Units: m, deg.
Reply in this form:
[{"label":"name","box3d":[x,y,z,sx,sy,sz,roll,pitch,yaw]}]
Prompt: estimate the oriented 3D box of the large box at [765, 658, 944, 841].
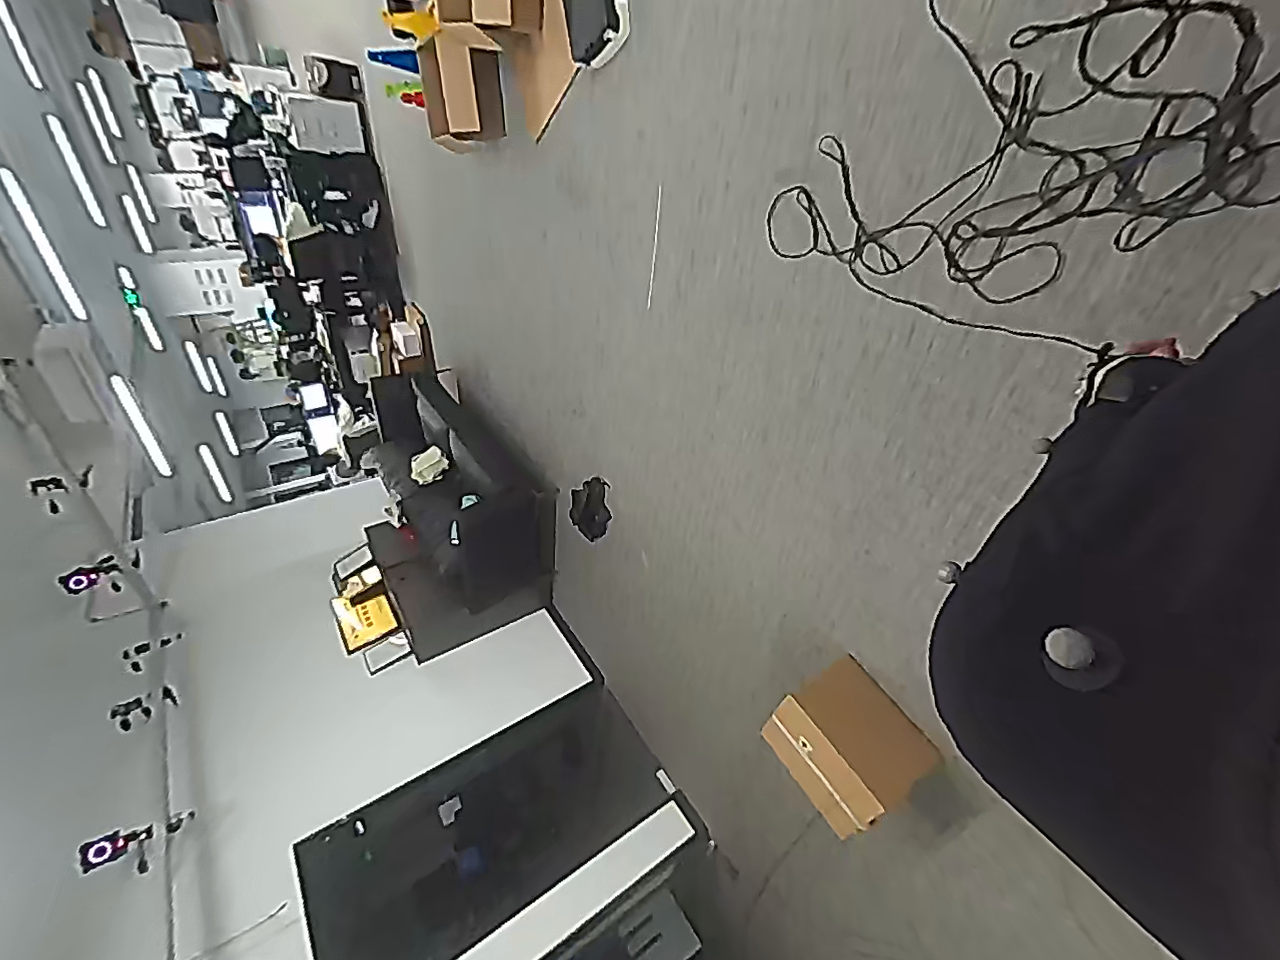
[{"label":"large box","box3d":[0.707,0.897,1.827,0.408,0.320,0.320,50,143,34]}]
